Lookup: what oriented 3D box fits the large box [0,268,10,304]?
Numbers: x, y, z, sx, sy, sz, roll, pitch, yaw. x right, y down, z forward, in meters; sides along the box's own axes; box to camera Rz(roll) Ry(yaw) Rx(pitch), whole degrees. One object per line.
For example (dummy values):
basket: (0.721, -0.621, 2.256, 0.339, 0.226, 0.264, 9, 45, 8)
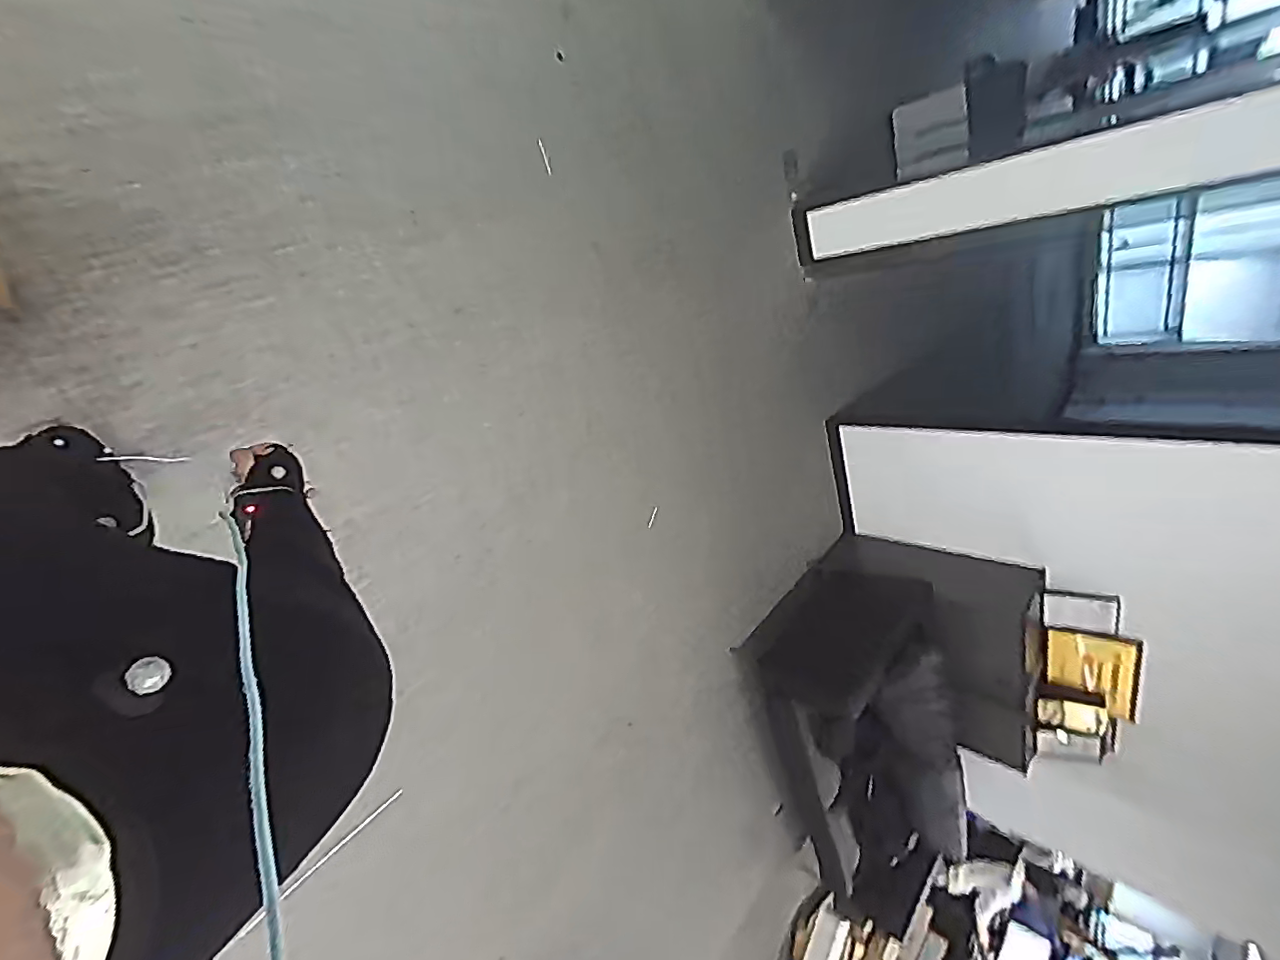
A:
large box: (-1.290, -0.440, 0.794, 0.408, 0.320, 0.320, -15, 106, -41)
